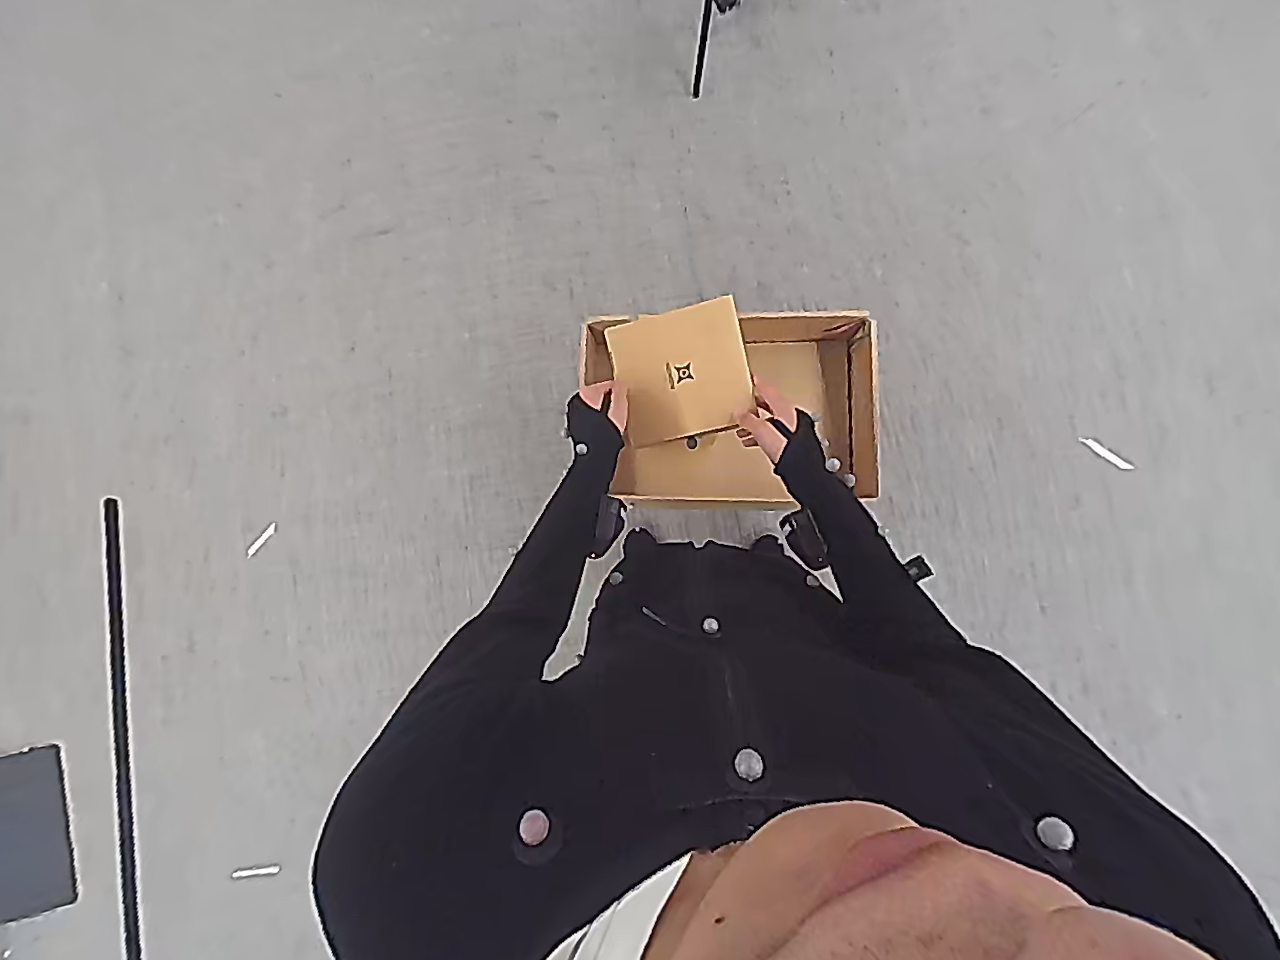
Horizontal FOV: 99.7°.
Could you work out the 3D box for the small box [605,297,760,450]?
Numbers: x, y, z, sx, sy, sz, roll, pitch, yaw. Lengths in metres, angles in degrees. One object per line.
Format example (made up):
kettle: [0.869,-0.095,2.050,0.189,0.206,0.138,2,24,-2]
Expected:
small box: [0.065,-0.145,0.783,0.179,0.176,0.168,-13,92,10]
